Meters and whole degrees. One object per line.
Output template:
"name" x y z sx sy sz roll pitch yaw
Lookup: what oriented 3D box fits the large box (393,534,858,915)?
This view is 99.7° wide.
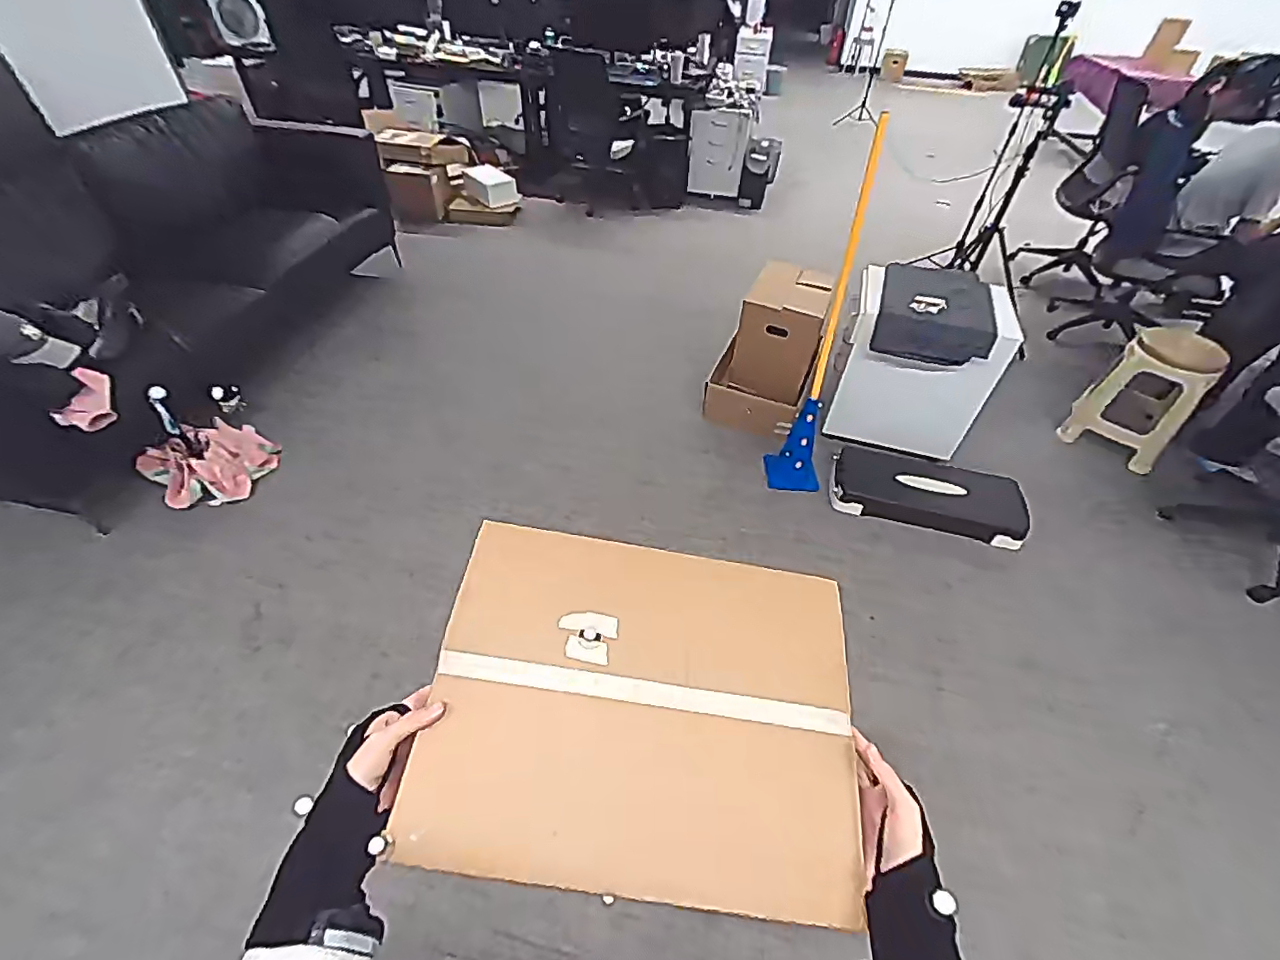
"large box" -0.009 0.294 0.658 0.408 0.320 0.320 9 55 -2
